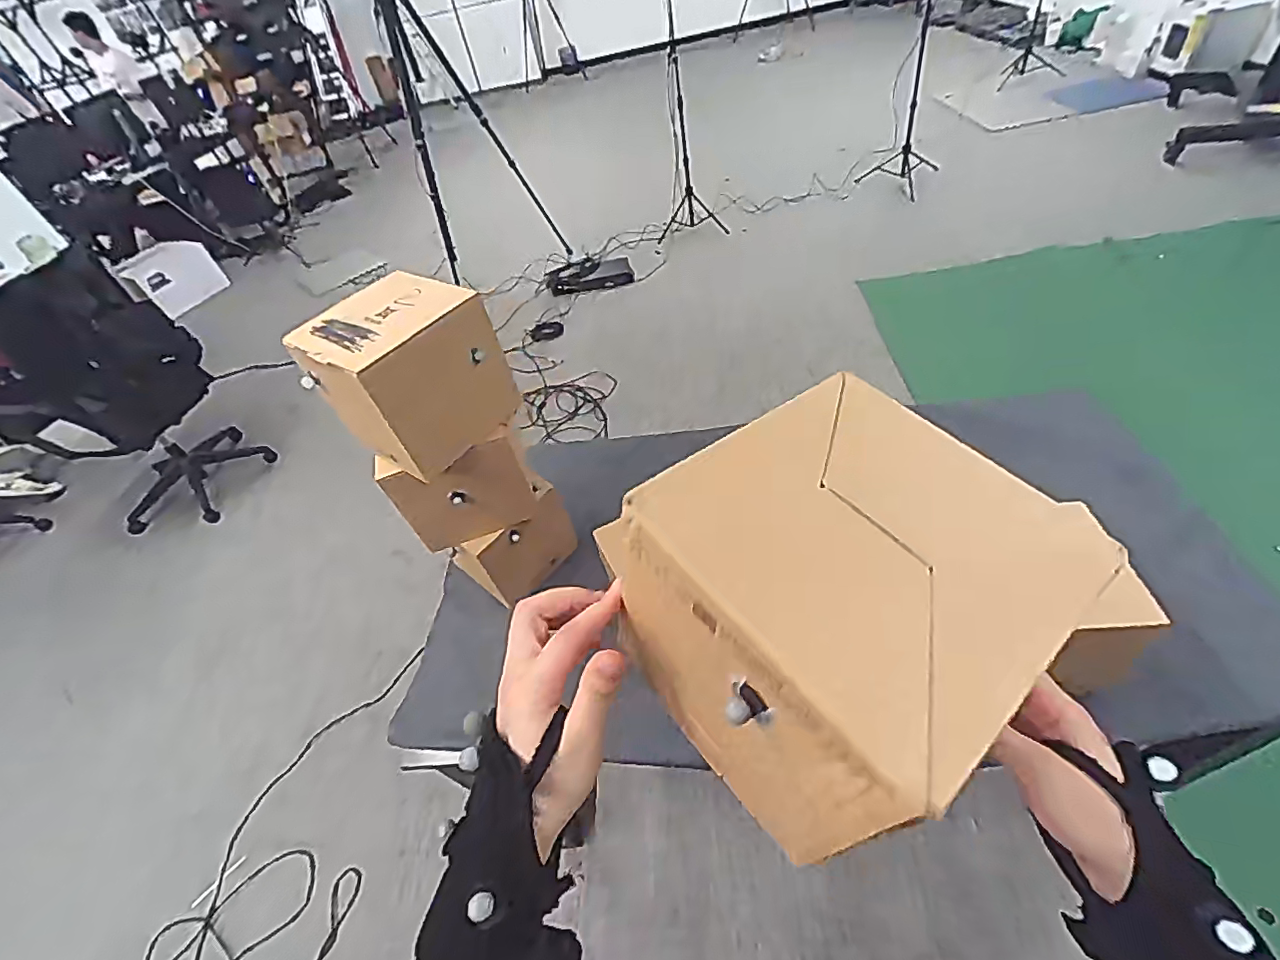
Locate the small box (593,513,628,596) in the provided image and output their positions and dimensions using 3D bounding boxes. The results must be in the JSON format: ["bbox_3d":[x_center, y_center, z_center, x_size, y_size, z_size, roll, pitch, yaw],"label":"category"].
[{"bbox_3d":[0.052,0.146,0.796,0.168,0.176,0.179,-25,46,-10],"label":"small box"}]

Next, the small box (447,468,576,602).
[{"bbox_3d":[-0.239,0.079,0.932,0.179,0.176,0.168,27,59,32],"label":"small box"}]

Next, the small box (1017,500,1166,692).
[{"bbox_3d":[0.483,0.149,0.685,0.168,0.176,0.179,-7,46,9],"label":"small box"}]

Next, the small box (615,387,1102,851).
[{"bbox_3d":[0.103,0.072,0.312,0.179,0.176,0.168,-30,59,-25],"label":"small box"}]

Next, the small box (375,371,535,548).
[{"bbox_3d":[-0.268,-0.028,0.810,0.179,0.176,0.168,-21,47,-5],"label":"small box"}]
